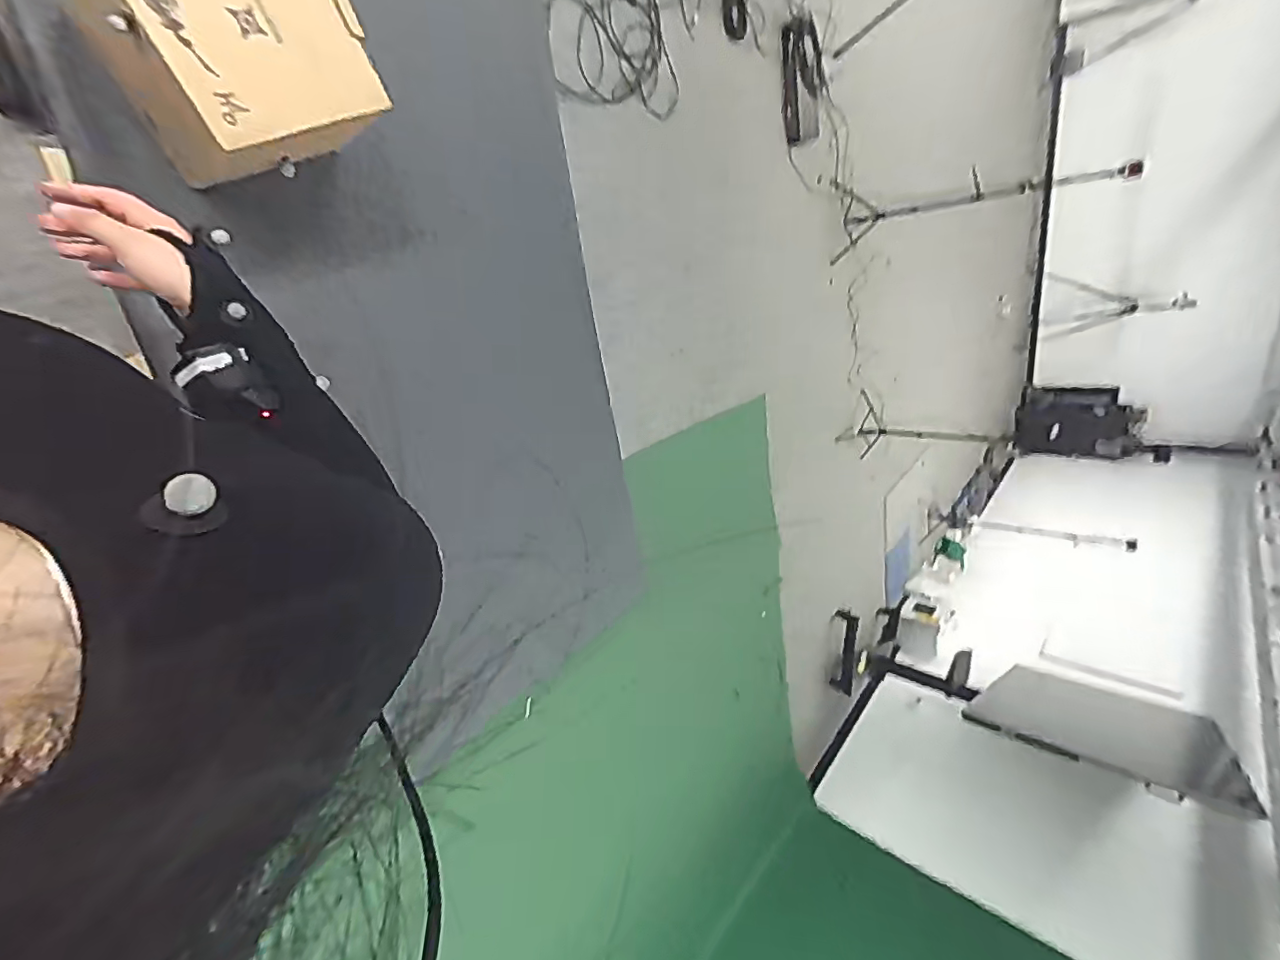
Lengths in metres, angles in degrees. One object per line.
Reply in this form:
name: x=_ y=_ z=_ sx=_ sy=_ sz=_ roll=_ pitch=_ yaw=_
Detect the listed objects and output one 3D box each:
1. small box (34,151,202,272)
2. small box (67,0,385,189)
small box: x=-0.956 y=-0.486 z=0.998 sx=0.179 sy=0.176 sz=0.168 roll=-27 pitch=116 yaw=-42
small box: x=-0.399 y=-0.409 z=0.528 sx=0.179 sy=0.176 sz=0.168 roll=-44 pitch=127 yaw=-33
